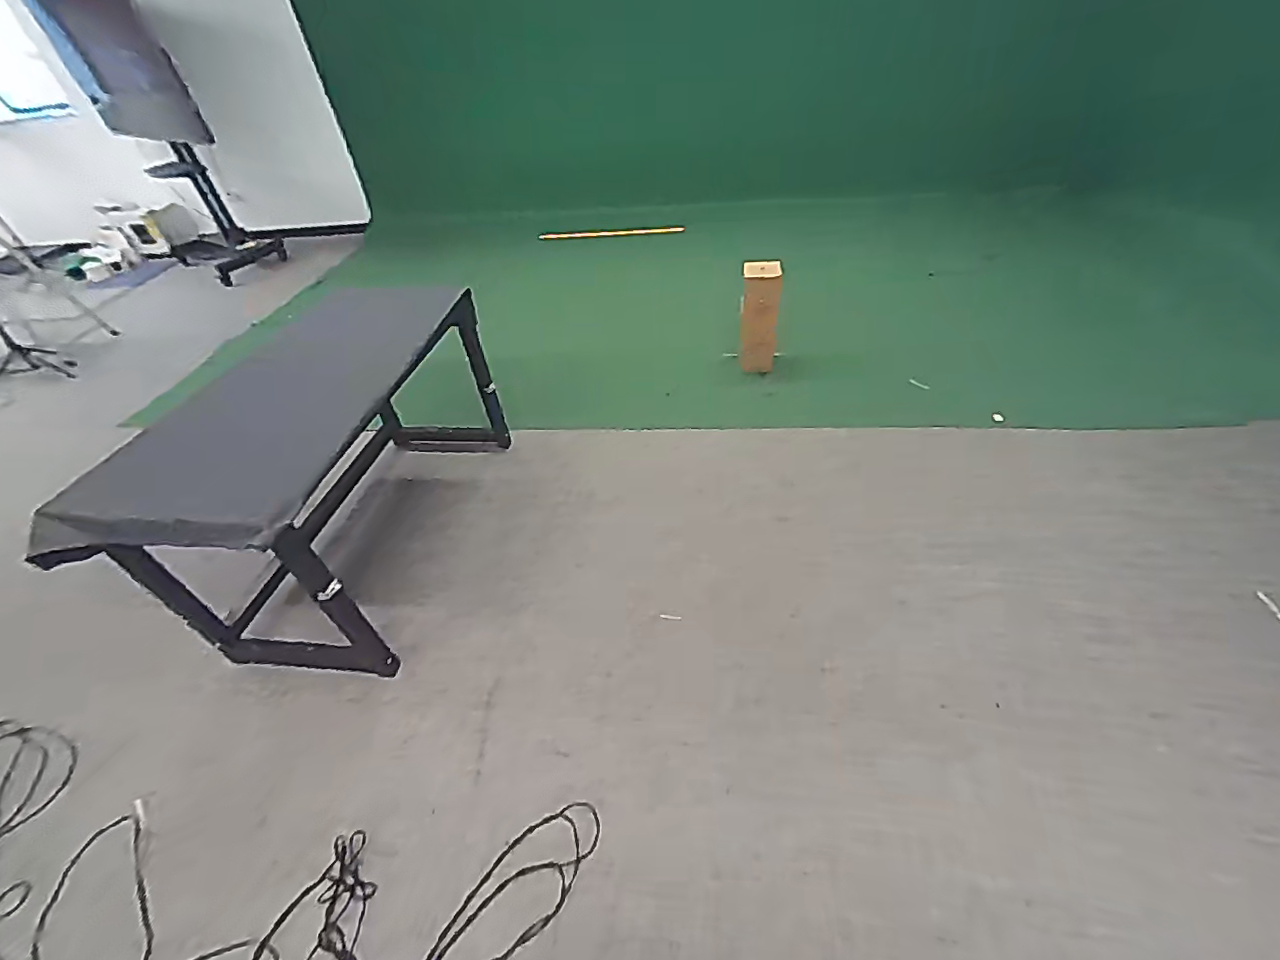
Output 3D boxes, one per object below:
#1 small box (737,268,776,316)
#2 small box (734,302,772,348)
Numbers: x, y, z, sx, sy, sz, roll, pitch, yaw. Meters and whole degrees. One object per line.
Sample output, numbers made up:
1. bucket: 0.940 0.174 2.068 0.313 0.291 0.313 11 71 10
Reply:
1. small box: 0.551 -0.895 2.570 0.168 0.176 0.179 2 42 8
2. small box: 0.554 -0.768 2.677 0.168 0.176 0.179 1 42 6
